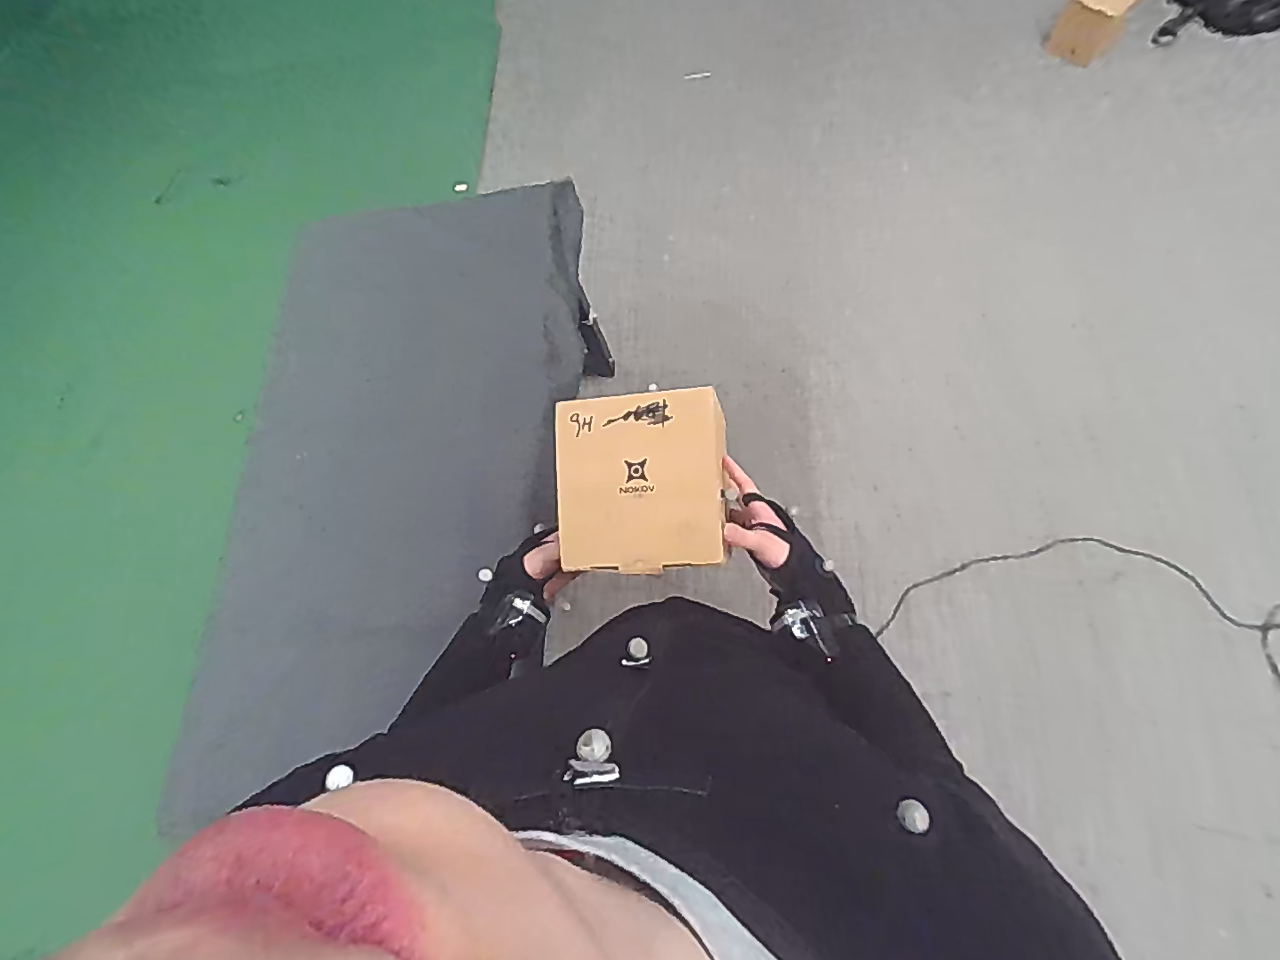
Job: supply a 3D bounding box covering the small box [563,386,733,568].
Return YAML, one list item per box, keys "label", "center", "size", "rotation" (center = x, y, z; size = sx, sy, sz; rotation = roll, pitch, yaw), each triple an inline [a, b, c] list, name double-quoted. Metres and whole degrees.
- label: "small box"
  center: [0.018, 0.003, 0.609]
  size: [0.168, 0.176, 0.179]
  rotation: [-3, 85, 10]
